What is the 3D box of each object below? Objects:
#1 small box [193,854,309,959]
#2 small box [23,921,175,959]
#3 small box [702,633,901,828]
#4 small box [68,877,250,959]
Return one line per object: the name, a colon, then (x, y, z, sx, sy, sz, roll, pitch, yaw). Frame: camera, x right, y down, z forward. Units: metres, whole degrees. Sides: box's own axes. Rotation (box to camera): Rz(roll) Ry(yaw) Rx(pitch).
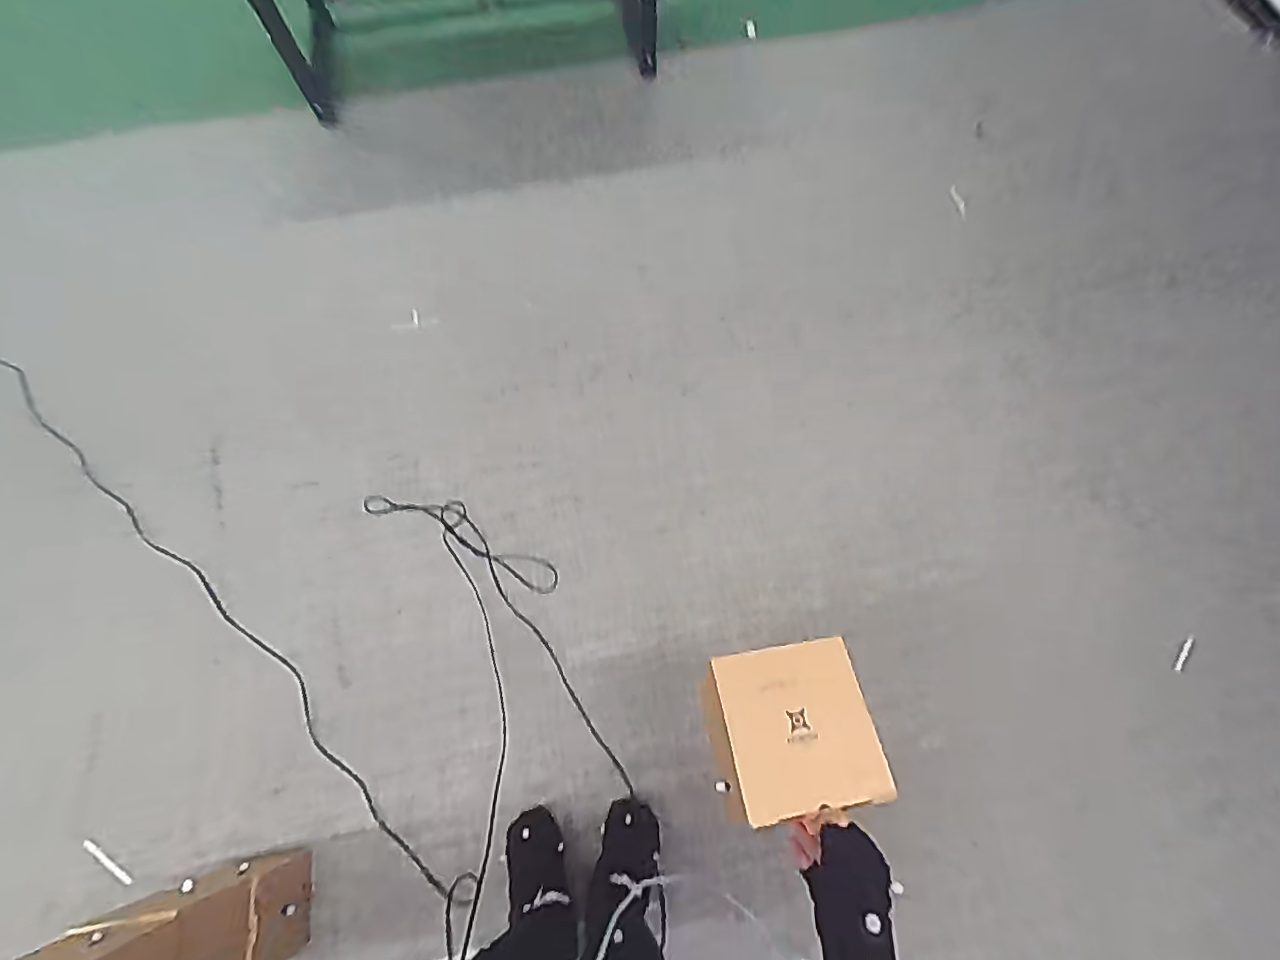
small box: (-0.756, 0.831, 1.016, 0.179, 0.176, 0.168, -9, 69, -3)
small box: (-0.763, 0.726, 0.707, 0.168, 0.176, 0.179, -9, 69, -3)
small box: (0.177, 0.305, 0.658, 0.168, 0.176, 0.179, -8, 58, -5)
small box: (-0.763, 0.774, 0.862, 0.168, 0.176, 0.179, -8, 69, -3)
